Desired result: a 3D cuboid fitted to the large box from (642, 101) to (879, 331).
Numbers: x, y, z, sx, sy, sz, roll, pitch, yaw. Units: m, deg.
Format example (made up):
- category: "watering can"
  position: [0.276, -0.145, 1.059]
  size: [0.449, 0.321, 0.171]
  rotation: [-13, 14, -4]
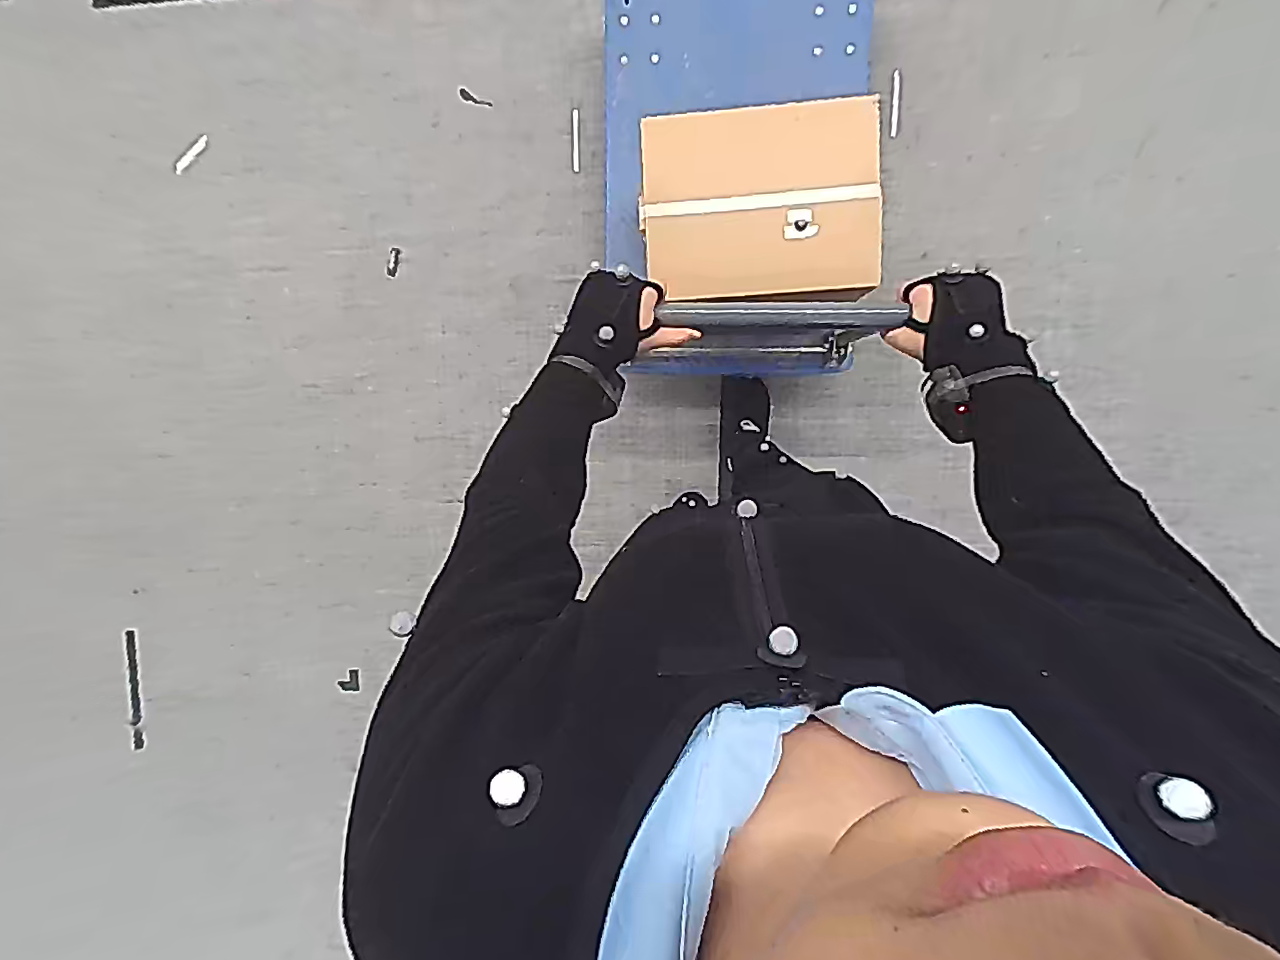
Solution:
- category: "large box"
  position: [0.219, -0.496, 1.093]
  size: [0.408, 0.320, 0.320]
  rotation: [-3, 97, 4]
